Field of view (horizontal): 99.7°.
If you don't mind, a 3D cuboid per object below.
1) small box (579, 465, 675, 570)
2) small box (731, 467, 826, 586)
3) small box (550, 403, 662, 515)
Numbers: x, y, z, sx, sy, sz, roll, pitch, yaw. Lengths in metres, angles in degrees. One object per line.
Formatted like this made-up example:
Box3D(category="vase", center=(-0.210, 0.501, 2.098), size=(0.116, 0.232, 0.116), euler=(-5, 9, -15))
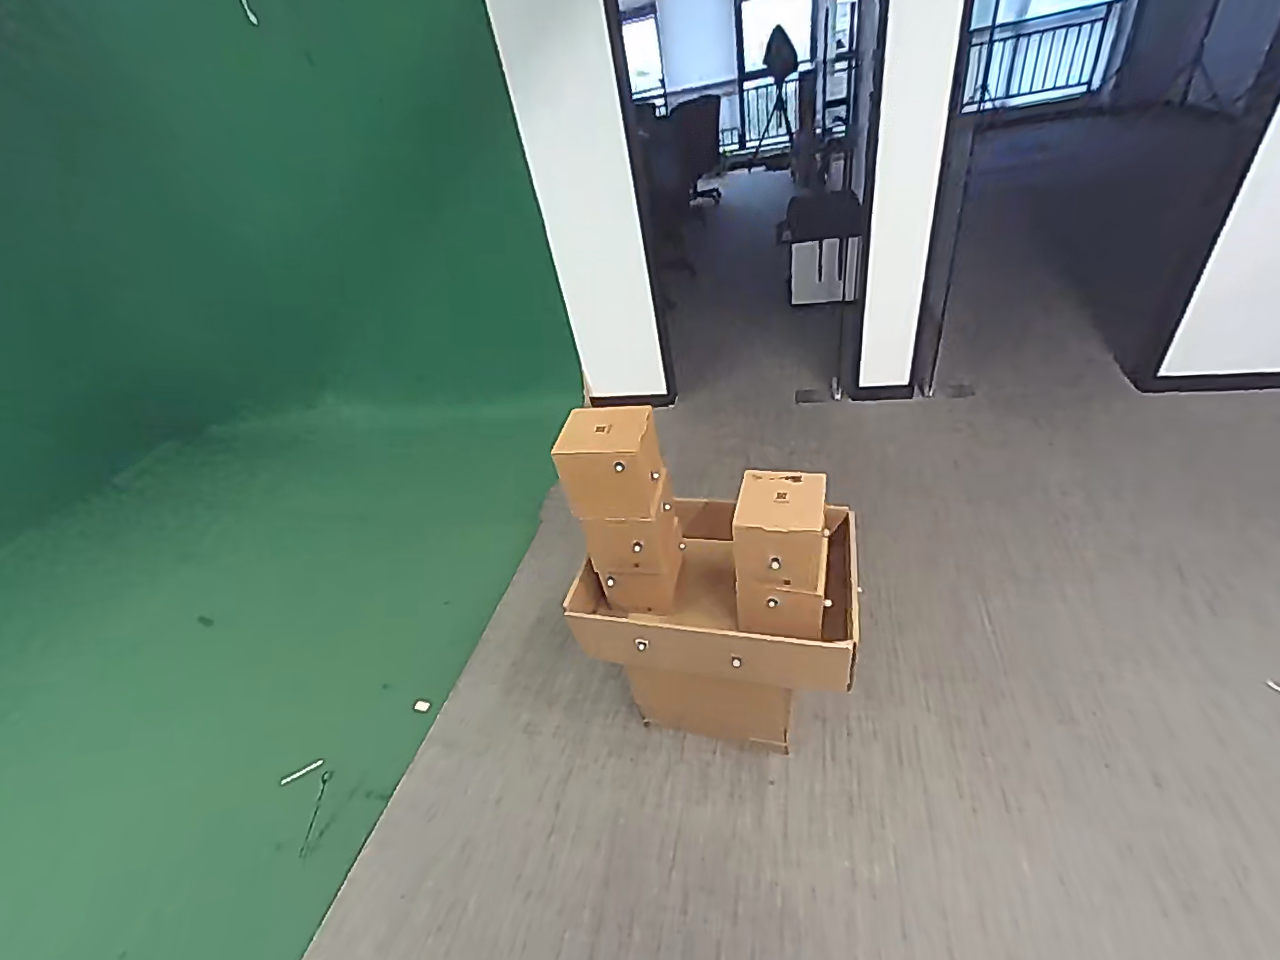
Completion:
Box3D(category="small box", center=(-0.019, 0.085, 1.211), size=(0.168, 0.176, 0.179), euler=(0, 39, 15))
Box3D(category="small box", center=(0.289, 0.095, 1.107), size=(0.168, 0.176, 0.179), euler=(4, 41, 20))
Box3D(category="small box", center=(-0.061, -0.041, 1.115), size=(0.179, 0.176, 0.168), euler=(-1, 39, 13))
